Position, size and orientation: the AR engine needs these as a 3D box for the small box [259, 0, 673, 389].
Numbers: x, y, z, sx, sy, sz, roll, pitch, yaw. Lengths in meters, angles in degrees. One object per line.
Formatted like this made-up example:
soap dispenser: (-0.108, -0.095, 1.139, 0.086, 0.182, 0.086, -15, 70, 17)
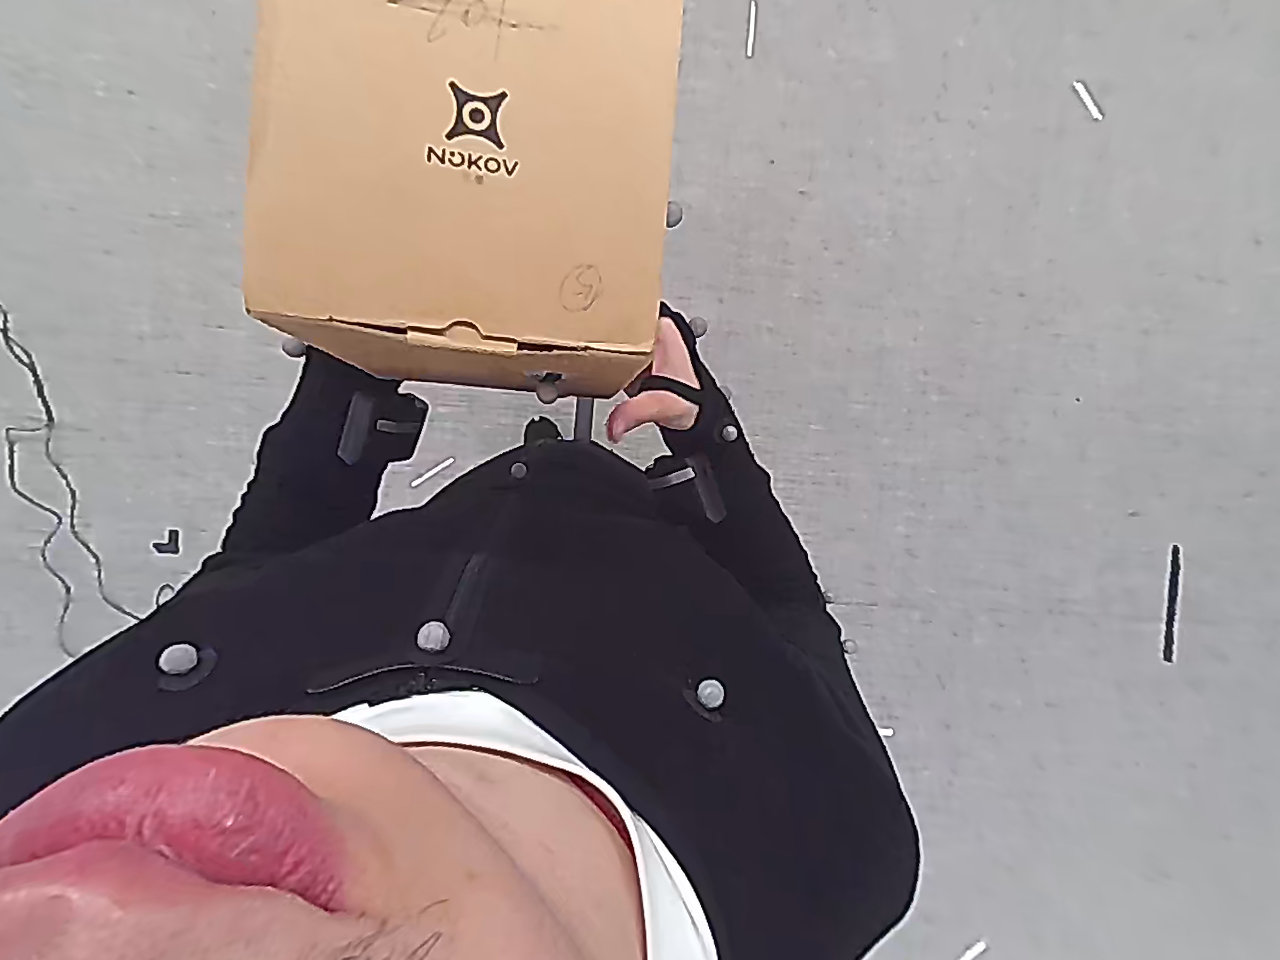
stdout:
small box: (-0.085, -0.153, 0.313, 0.168, 0.176, 0.179, 4, 91, -11)
